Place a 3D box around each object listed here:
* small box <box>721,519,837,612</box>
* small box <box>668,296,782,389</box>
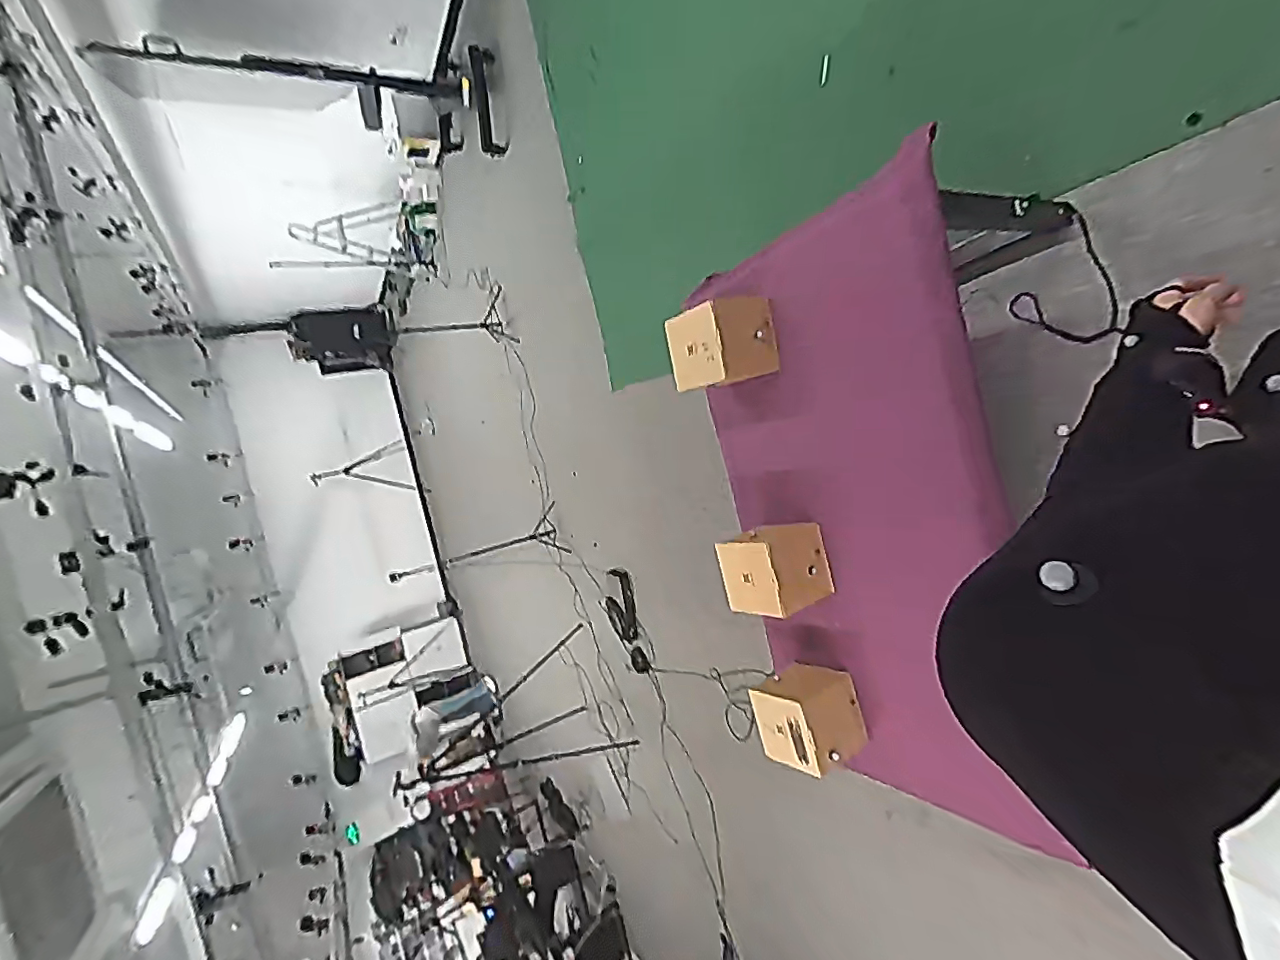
[{"bbox_3d":[0.321,0.193,1.254,0.179,0.176,0.168,-13,92,59],"label":"small box"},{"bbox_3d":[0.193,-0.311,1.232,0.179,0.176,0.168,-2,102,59],"label":"small box"}]
